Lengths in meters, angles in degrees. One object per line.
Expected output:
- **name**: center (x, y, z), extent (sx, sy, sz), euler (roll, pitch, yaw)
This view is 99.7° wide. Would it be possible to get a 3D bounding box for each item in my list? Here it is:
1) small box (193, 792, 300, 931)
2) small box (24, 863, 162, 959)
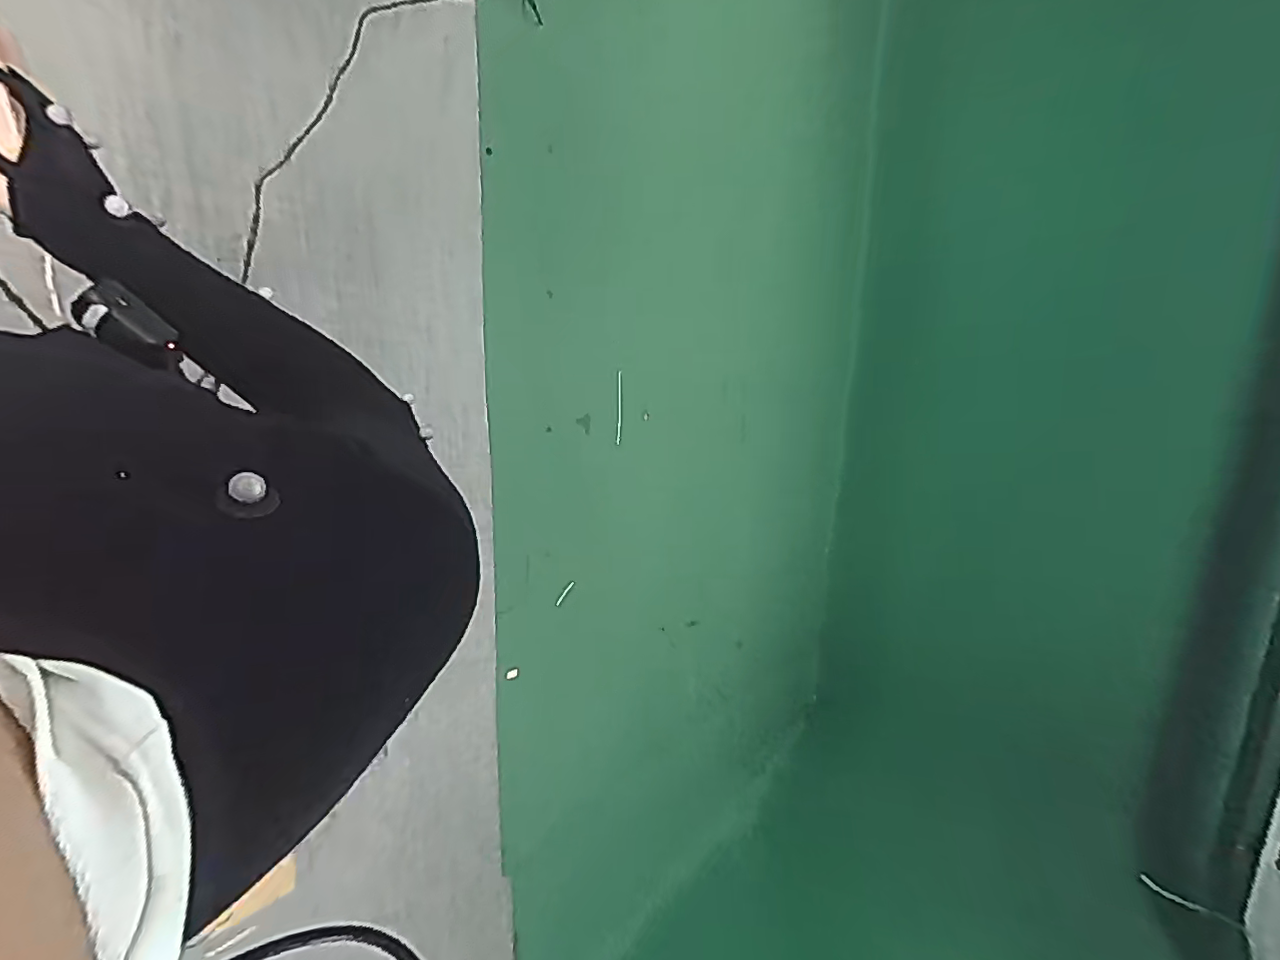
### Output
- **small box**: center (-0.943, 0.898, 1.293), extent (0.179, 0.176, 0.168), euler (-9, 106, -48)
- **small box**: center (-1.118, 0.945, 1.107), extent (0.179, 0.176, 0.168), euler (-13, 108, -44)
